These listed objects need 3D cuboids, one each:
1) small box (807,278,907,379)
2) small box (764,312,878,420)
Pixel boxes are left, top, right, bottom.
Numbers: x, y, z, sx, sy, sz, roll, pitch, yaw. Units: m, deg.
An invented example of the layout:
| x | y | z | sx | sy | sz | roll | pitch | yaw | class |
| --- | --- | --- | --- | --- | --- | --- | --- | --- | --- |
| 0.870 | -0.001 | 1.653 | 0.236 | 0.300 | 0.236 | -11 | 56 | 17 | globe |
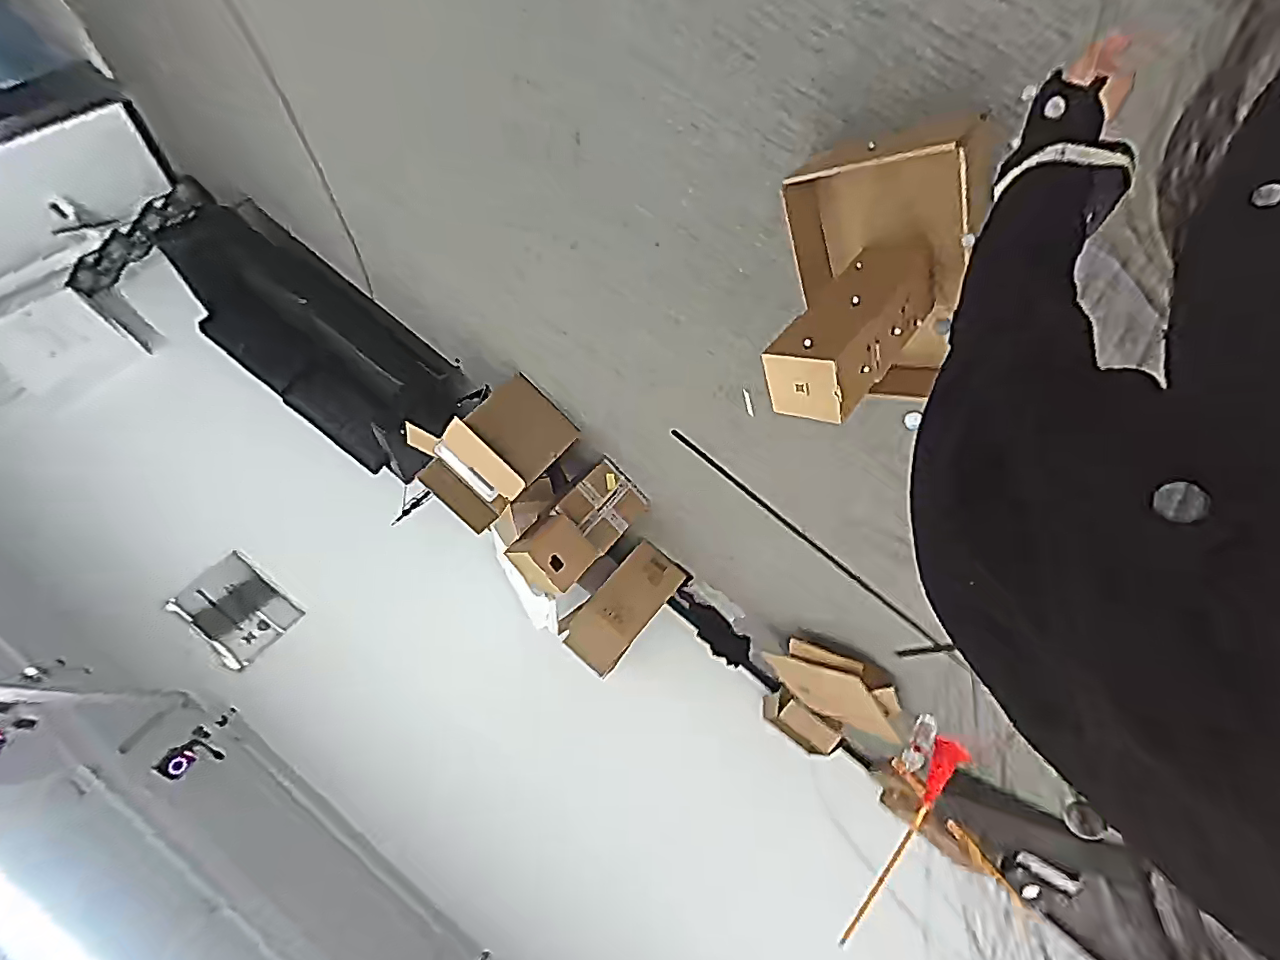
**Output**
| x | y | z | sx | sy | sz | roll | pitch | yaw | class |
| --- | --- | --- | --- | --- | --- | --- | --- | --- | --- |
| 0.517 | -0.362 | 1.280 | 0.179 | 0.176 | 0.168 | 19 | 145 | 40 | small box |
| 0.408 | -0.261 | 1.212 | 0.179 | 0.176 | 0.168 | 18 | 145 | 41 | small box |
